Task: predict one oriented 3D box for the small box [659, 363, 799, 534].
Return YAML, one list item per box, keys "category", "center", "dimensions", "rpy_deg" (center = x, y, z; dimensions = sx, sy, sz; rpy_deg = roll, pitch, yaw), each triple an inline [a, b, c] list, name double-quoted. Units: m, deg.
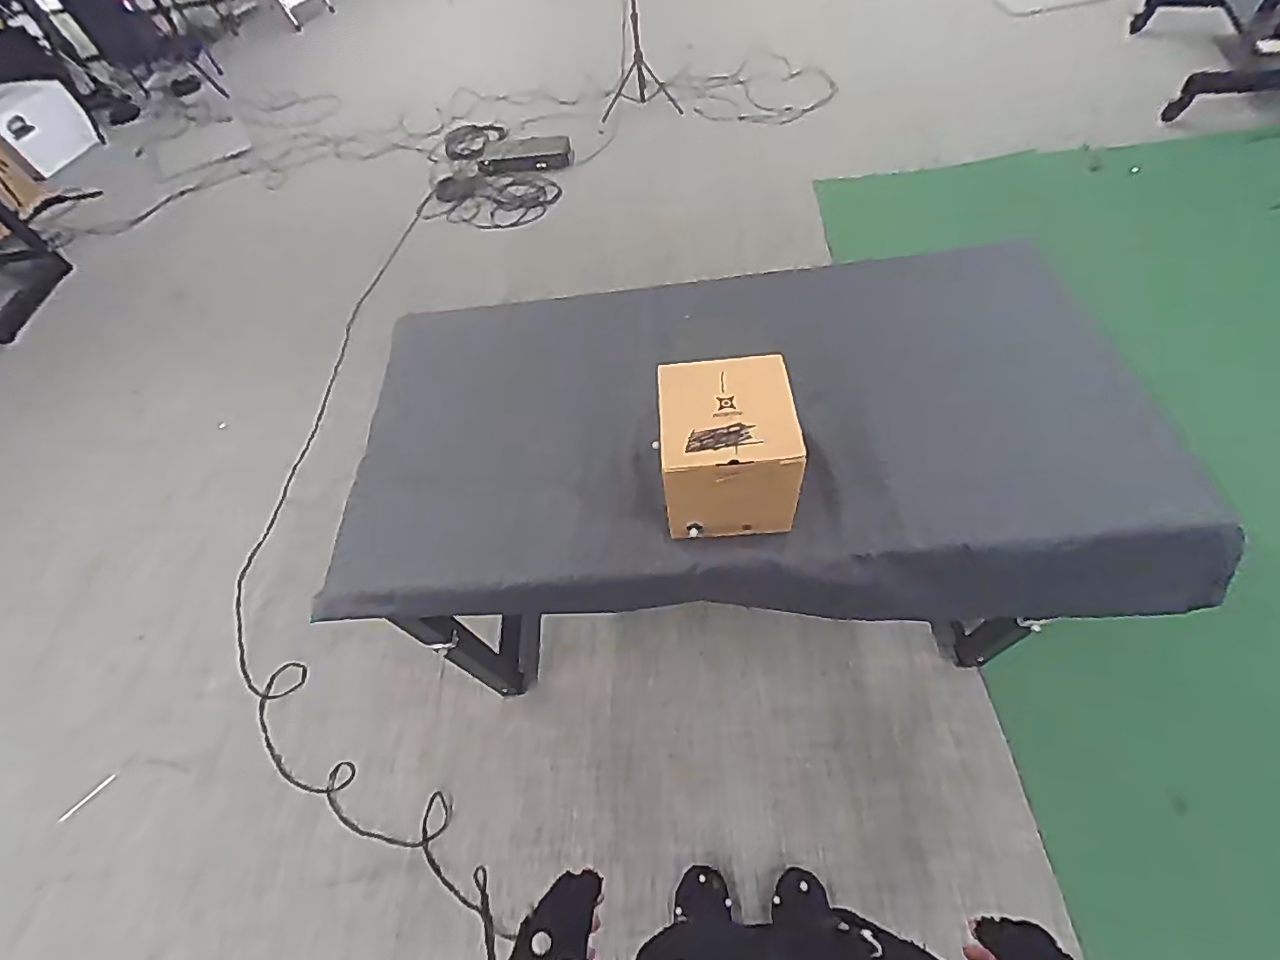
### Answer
- category: "small box"
  center: [0.117, -0.035, 0.749]
  dimensions: [0.168, 0.176, 0.179]
  rpy_deg: [-4, 54, 5]
